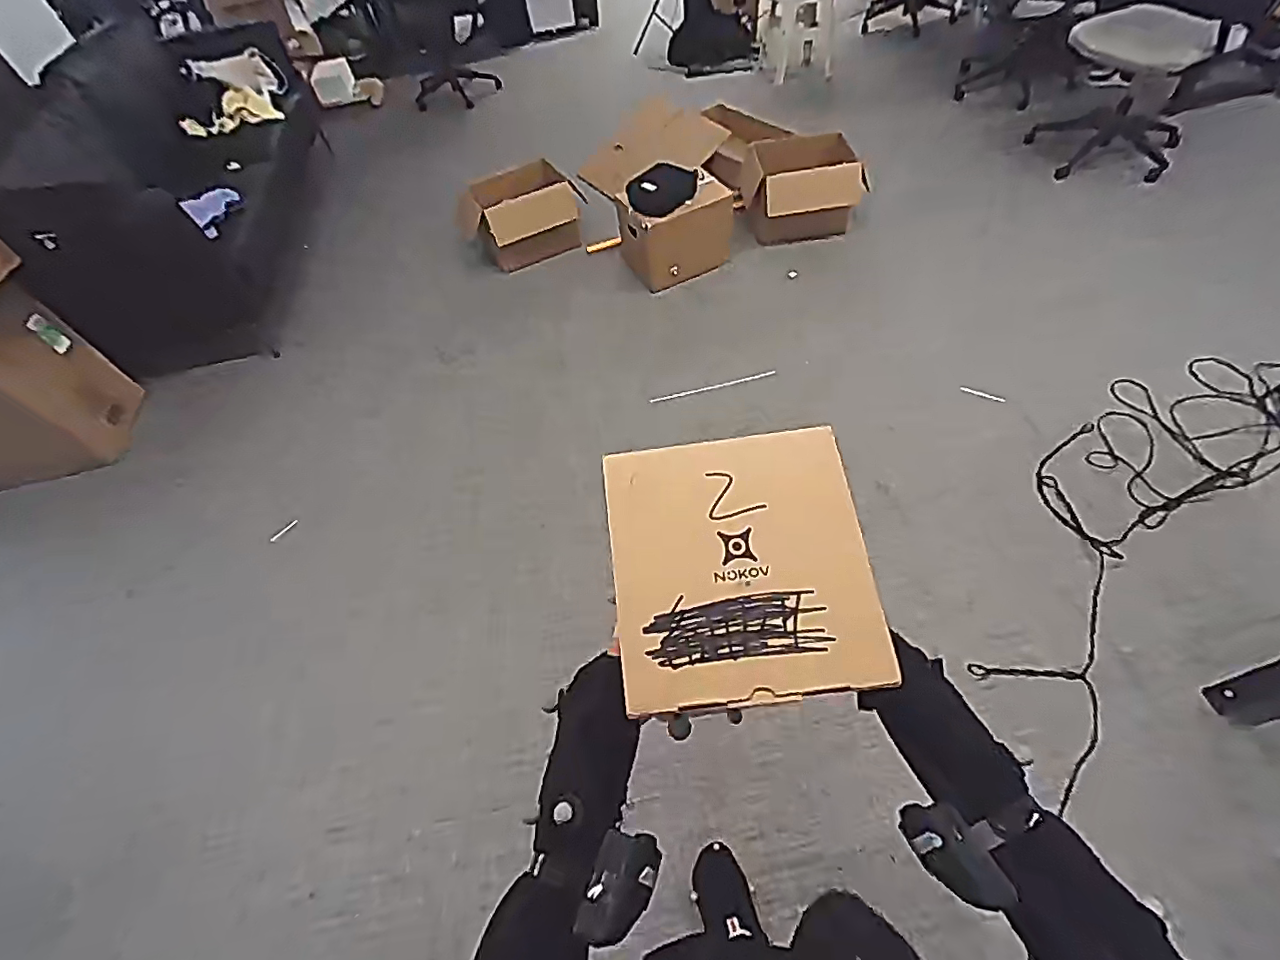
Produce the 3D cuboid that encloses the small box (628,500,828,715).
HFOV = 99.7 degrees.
[{"bbox_3d":[0.083,0.145,0.588,0.168,0.176,0.179,-9,62,1],"label":"small box"}]
